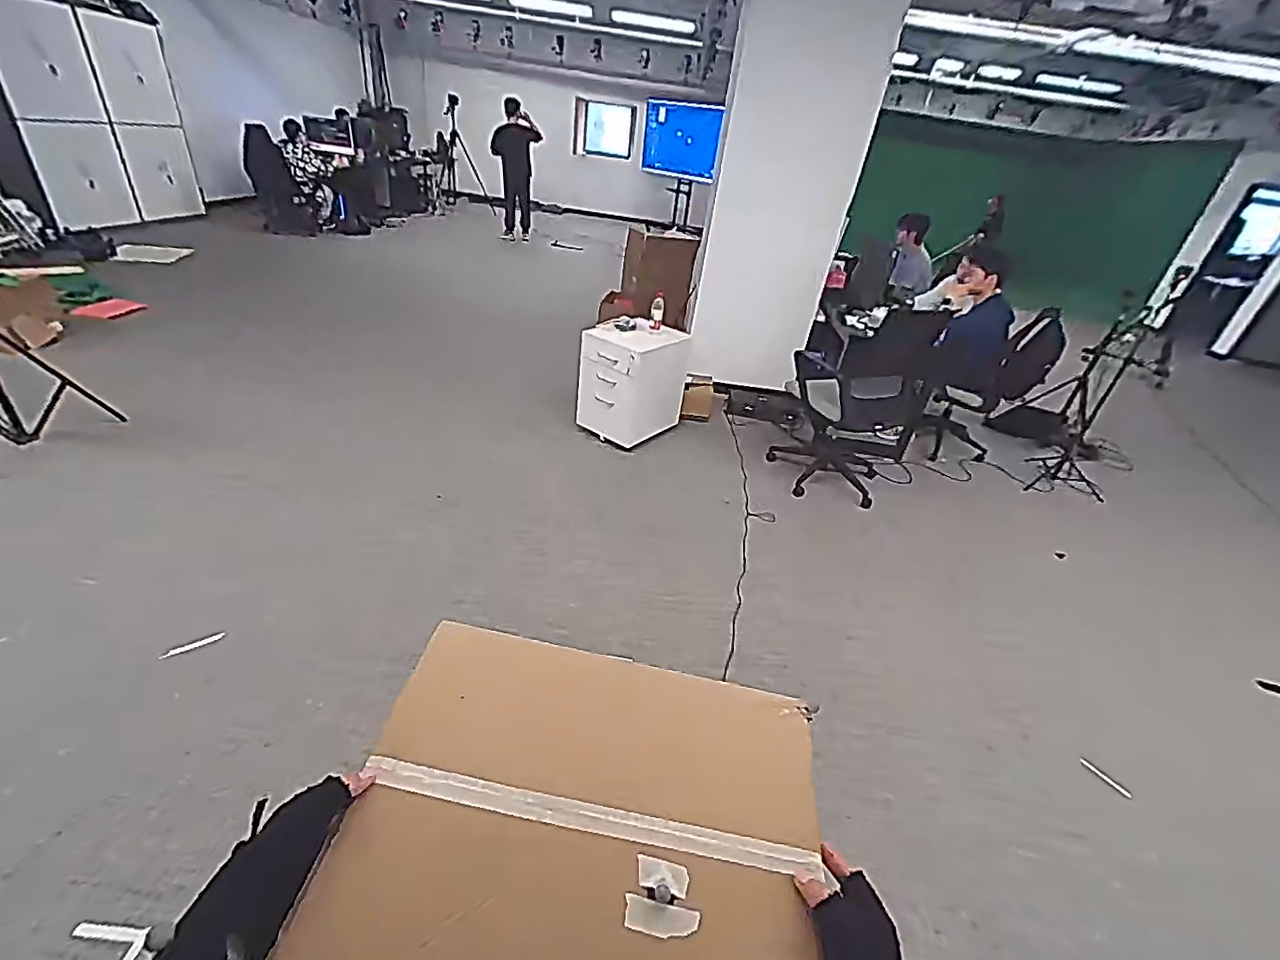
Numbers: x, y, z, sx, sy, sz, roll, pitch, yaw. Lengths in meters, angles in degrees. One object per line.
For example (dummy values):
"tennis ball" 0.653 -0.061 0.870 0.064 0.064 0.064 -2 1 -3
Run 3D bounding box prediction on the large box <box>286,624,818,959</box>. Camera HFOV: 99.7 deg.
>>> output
"large box" -0.065 0.407 0.583 0.408 0.320 0.320 13 41 1
